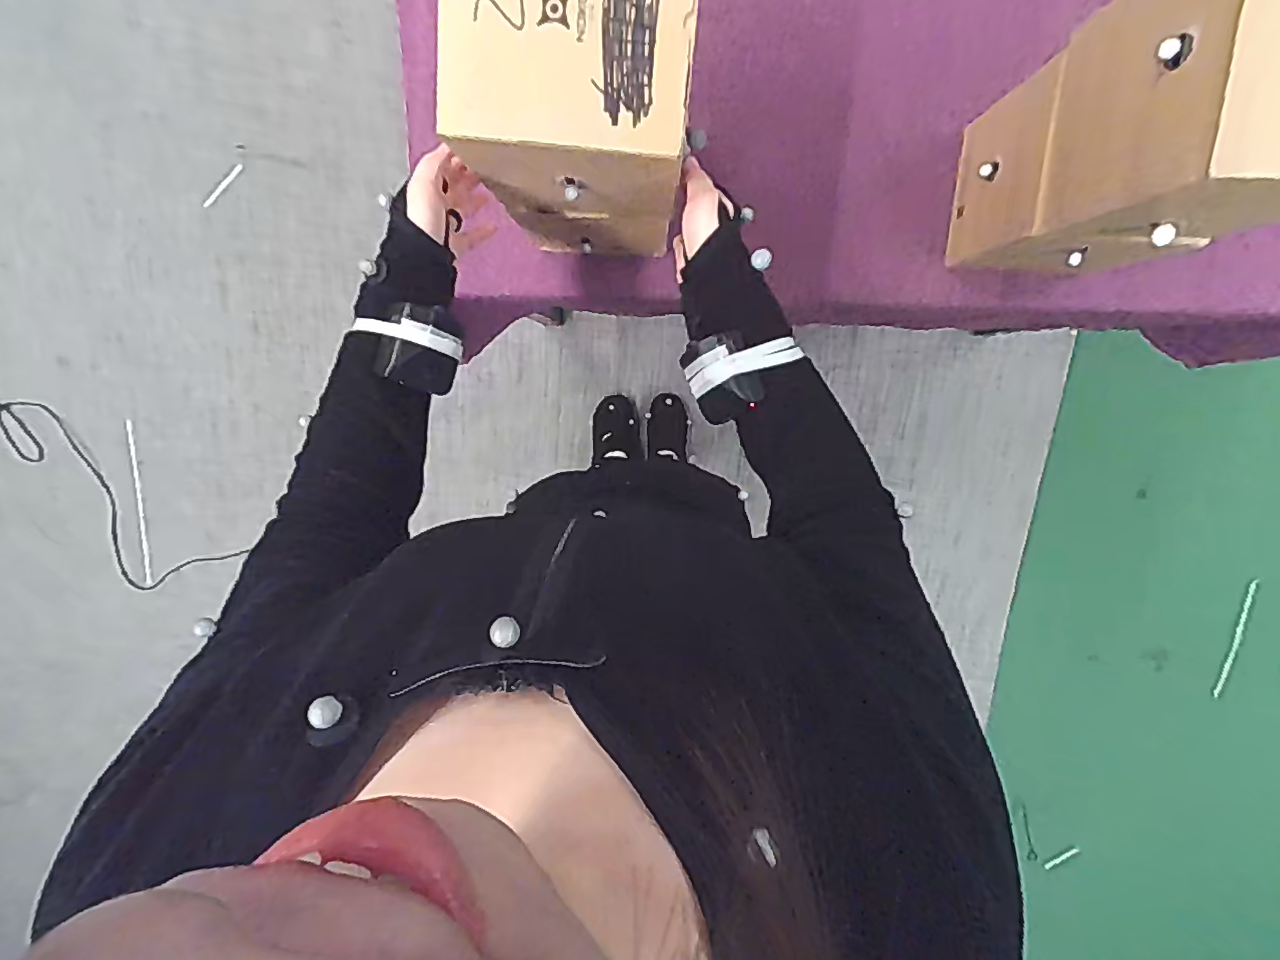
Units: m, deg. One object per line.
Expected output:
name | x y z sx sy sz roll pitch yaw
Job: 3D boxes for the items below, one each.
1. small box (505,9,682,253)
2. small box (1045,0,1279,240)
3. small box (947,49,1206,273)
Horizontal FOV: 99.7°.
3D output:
small box | -0.047 -0.367 0.601 0.168 0.176 0.179 4 102 0
small box | 0.469 -0.306 0.431 0.168 0.176 0.179 2 102 2
small box | 0.473 -0.330 0.594 0.179 0.176 0.168 4 102 1
